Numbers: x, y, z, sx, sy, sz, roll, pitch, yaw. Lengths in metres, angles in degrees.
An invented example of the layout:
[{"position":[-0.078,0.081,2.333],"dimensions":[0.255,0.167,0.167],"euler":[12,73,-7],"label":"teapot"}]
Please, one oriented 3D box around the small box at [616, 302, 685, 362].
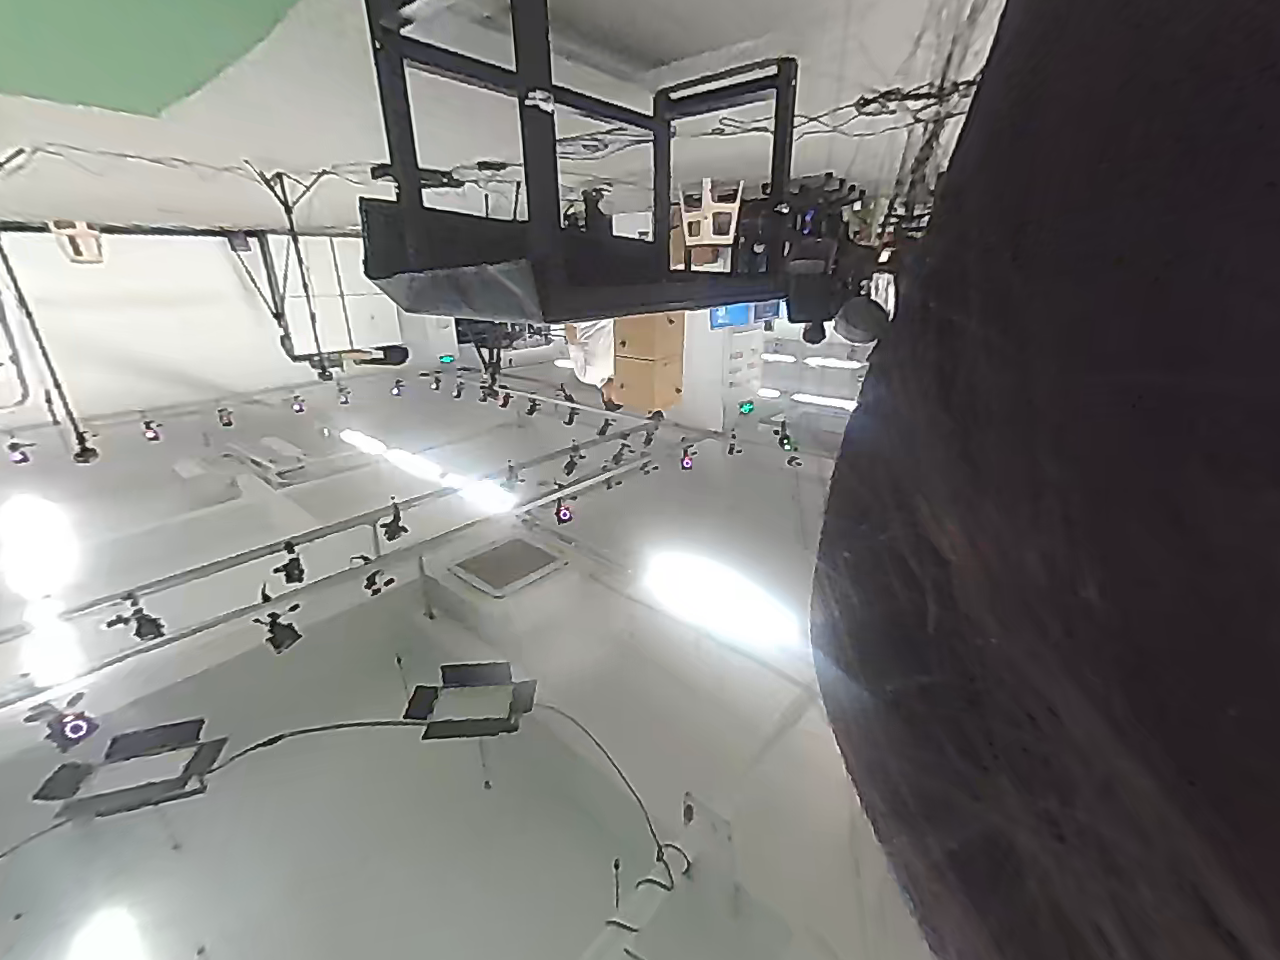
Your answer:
[{"position":[0.038,-0.492,1.777],"dimensions":[0.179,0.176,0.168],"euler":[16,-152,37],"label":"small box"}]
